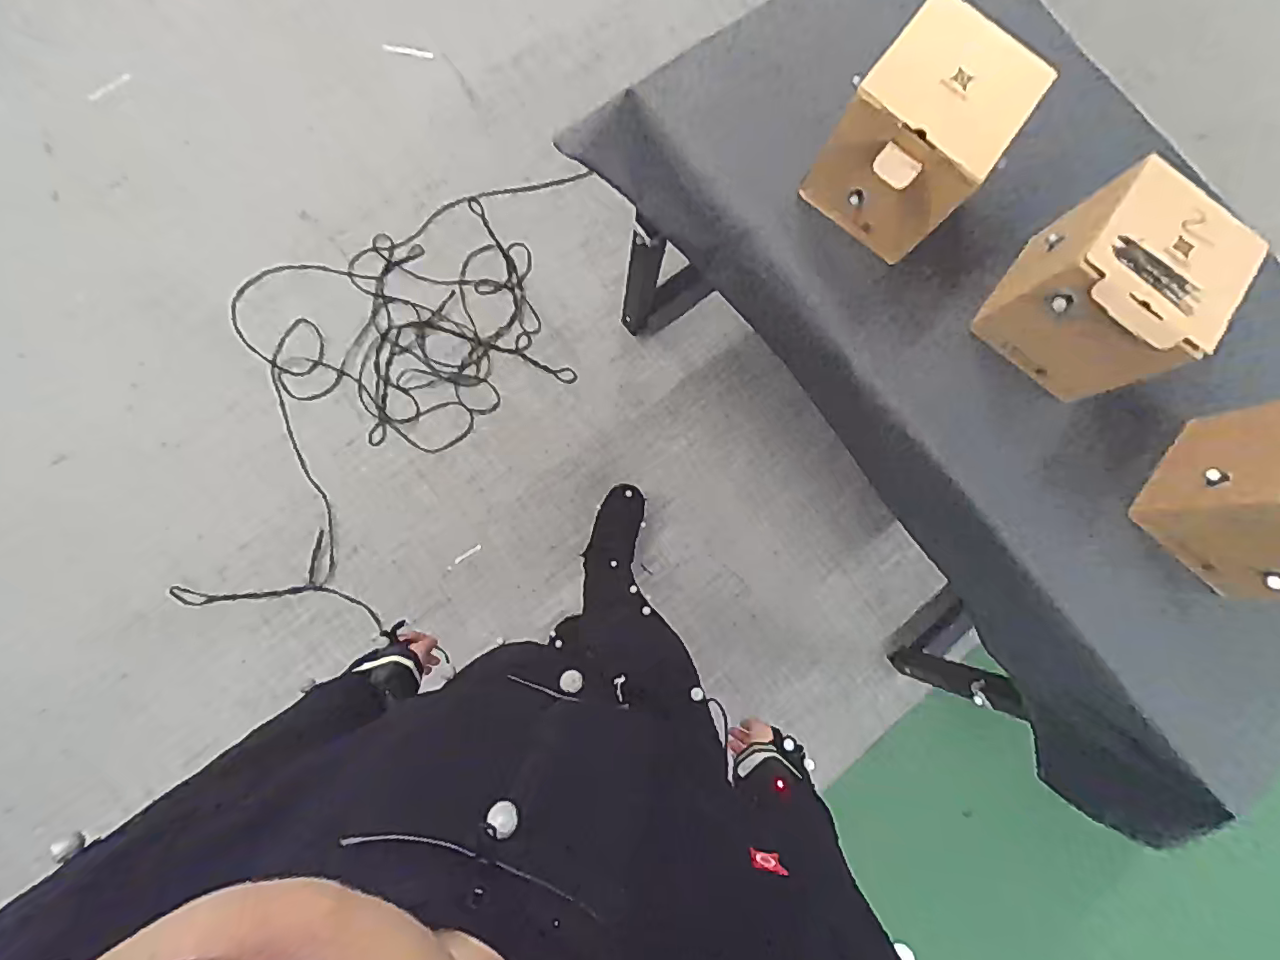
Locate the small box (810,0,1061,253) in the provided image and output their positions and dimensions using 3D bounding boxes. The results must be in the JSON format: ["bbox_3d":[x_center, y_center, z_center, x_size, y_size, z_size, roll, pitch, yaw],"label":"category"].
[{"bbox_3d":[0.337,-0.421,0.653,0.168,0.176,0.179,37,81,-1],"label":"small box"}]

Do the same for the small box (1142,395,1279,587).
[{"bbox_3d":[0.762,0.016,0.638,0.168,0.176,0.179,41,80,0],"label":"small box"}]
